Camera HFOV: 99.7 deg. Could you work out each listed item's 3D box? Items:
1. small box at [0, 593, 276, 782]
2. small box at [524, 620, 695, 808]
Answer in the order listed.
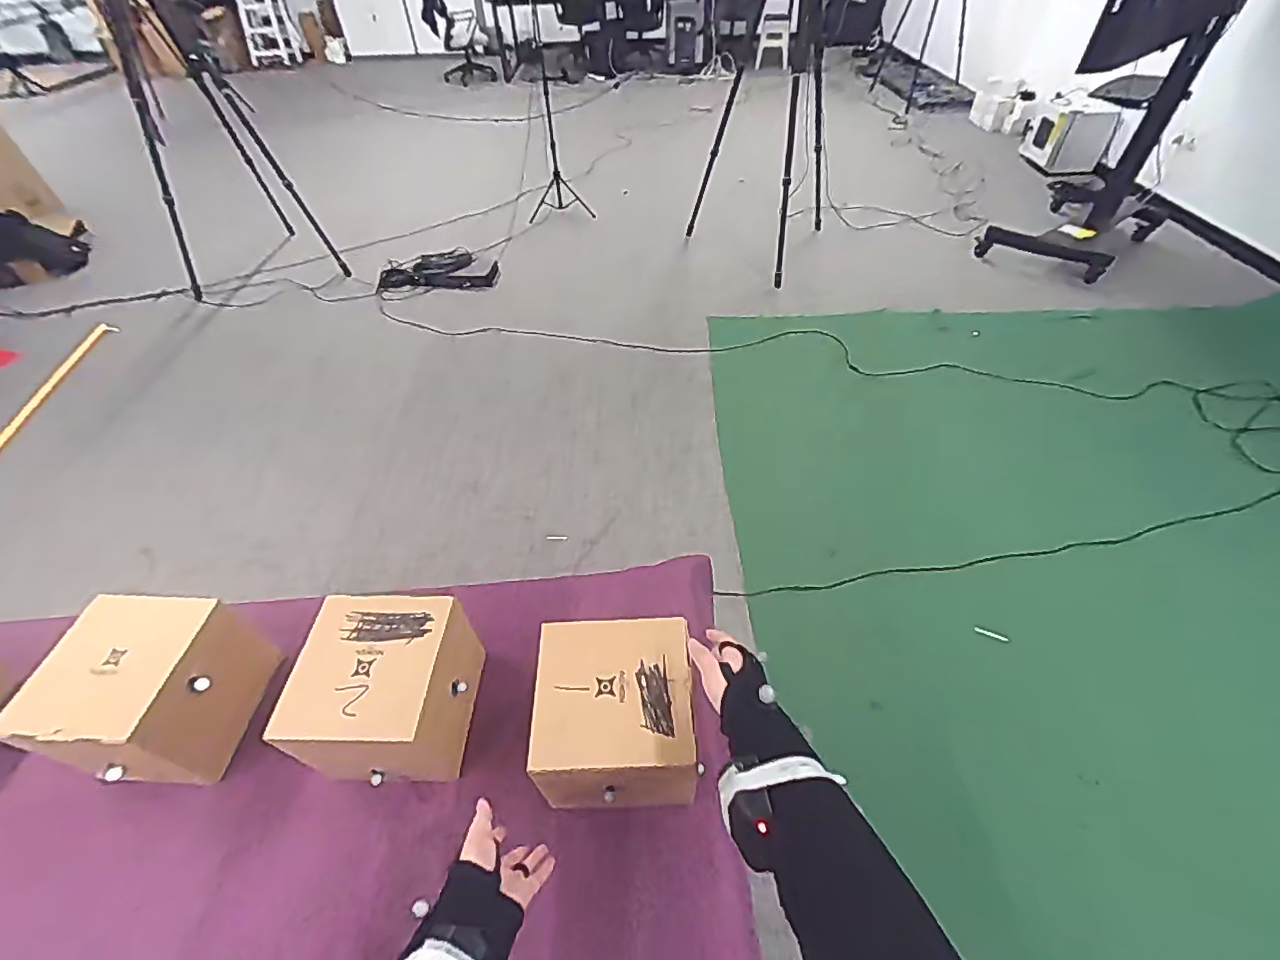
[{"bbox_3d":[-0.618,0.268,0.700,0.168,0.176,0.179,1,48,4],"label":"small box"},{"bbox_3d":[-0.029,0.285,0.656,0.179,0.176,0.168,-3,47,2],"label":"small box"}]
